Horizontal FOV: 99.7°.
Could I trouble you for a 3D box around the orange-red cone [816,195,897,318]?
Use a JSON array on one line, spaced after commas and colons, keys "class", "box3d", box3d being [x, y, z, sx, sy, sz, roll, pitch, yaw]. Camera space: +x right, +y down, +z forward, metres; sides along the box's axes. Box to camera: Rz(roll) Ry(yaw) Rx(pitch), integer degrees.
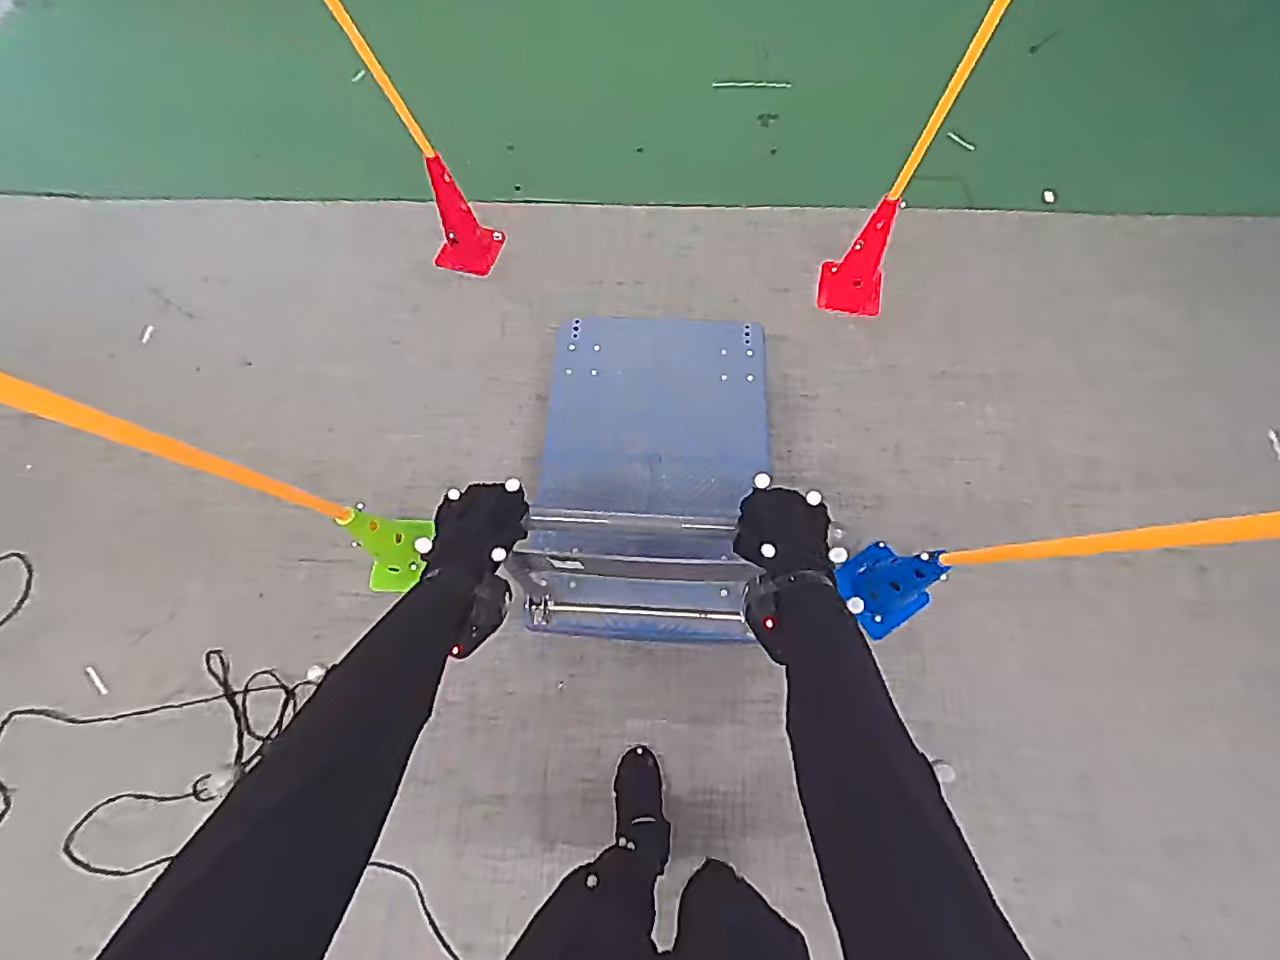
[{"class": "orange-red cone", "box3d": [0.679, -0.684, 1.612, 0.198, 0.360, 0.199, 12, 70, 7]}]
